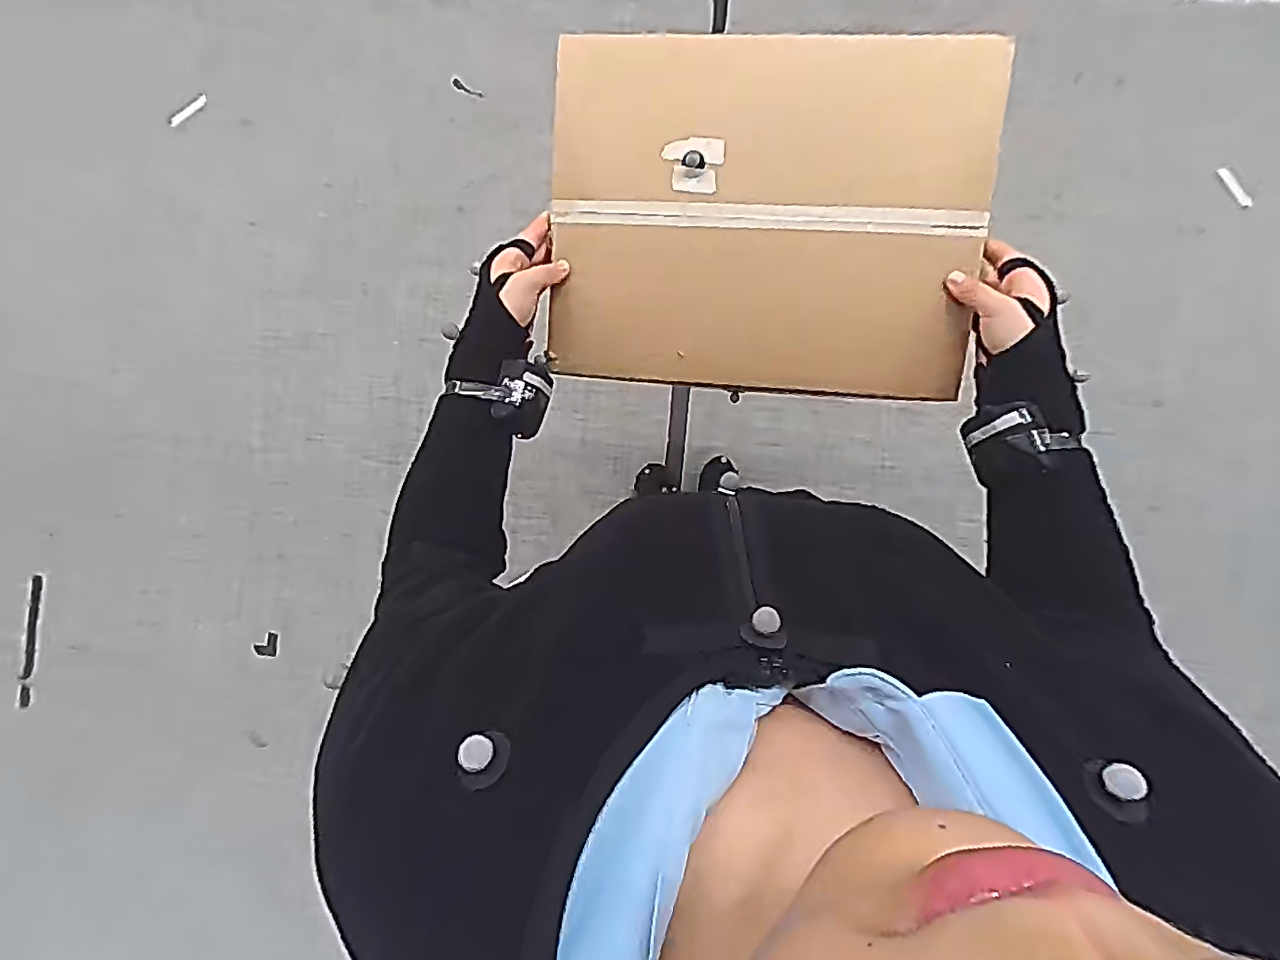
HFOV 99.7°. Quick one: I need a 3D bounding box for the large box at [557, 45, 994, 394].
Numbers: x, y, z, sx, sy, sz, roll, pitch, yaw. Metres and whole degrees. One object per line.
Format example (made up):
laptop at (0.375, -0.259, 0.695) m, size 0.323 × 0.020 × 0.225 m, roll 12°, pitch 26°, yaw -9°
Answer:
large box at (0.135, -0.270, 0.672) m, size 0.408 × 0.320 × 0.320 m, roll 4°, pitch 98°, yaw 7°
